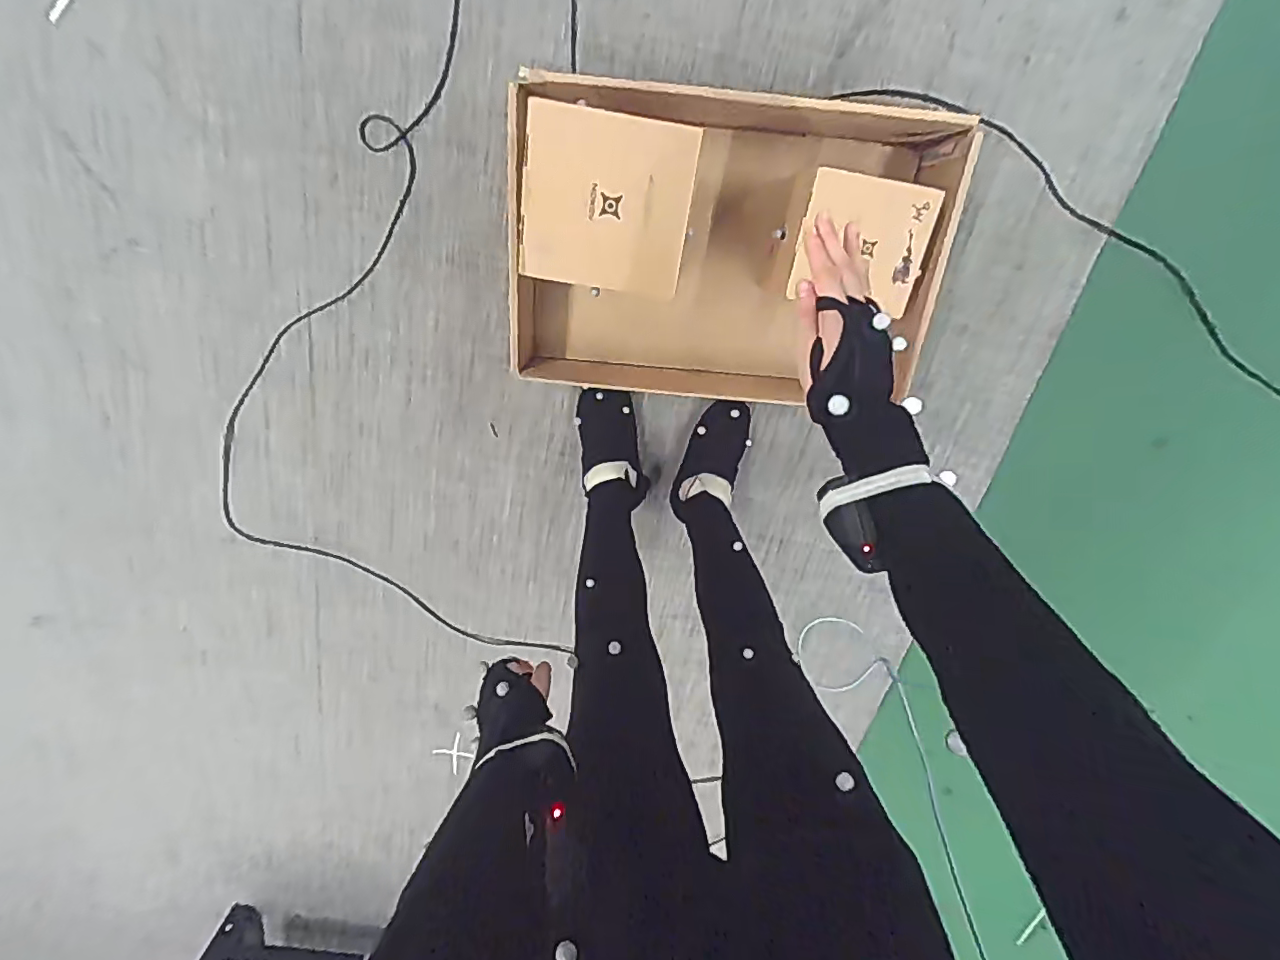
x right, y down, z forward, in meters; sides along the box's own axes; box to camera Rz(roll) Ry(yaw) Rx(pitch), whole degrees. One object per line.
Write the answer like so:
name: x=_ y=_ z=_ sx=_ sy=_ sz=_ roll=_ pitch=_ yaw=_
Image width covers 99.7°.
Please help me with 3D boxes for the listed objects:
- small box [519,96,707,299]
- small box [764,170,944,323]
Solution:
small box: x=-0.033 y=-0.318 z=0.634 sx=0.179 sy=0.176 sz=0.168 roll=9 pitch=114 yaw=-5
small box: x=0.298 y=-0.340 z=0.802 sx=0.179 sy=0.176 sz=0.168 roll=10 pitch=113 yaw=-4
